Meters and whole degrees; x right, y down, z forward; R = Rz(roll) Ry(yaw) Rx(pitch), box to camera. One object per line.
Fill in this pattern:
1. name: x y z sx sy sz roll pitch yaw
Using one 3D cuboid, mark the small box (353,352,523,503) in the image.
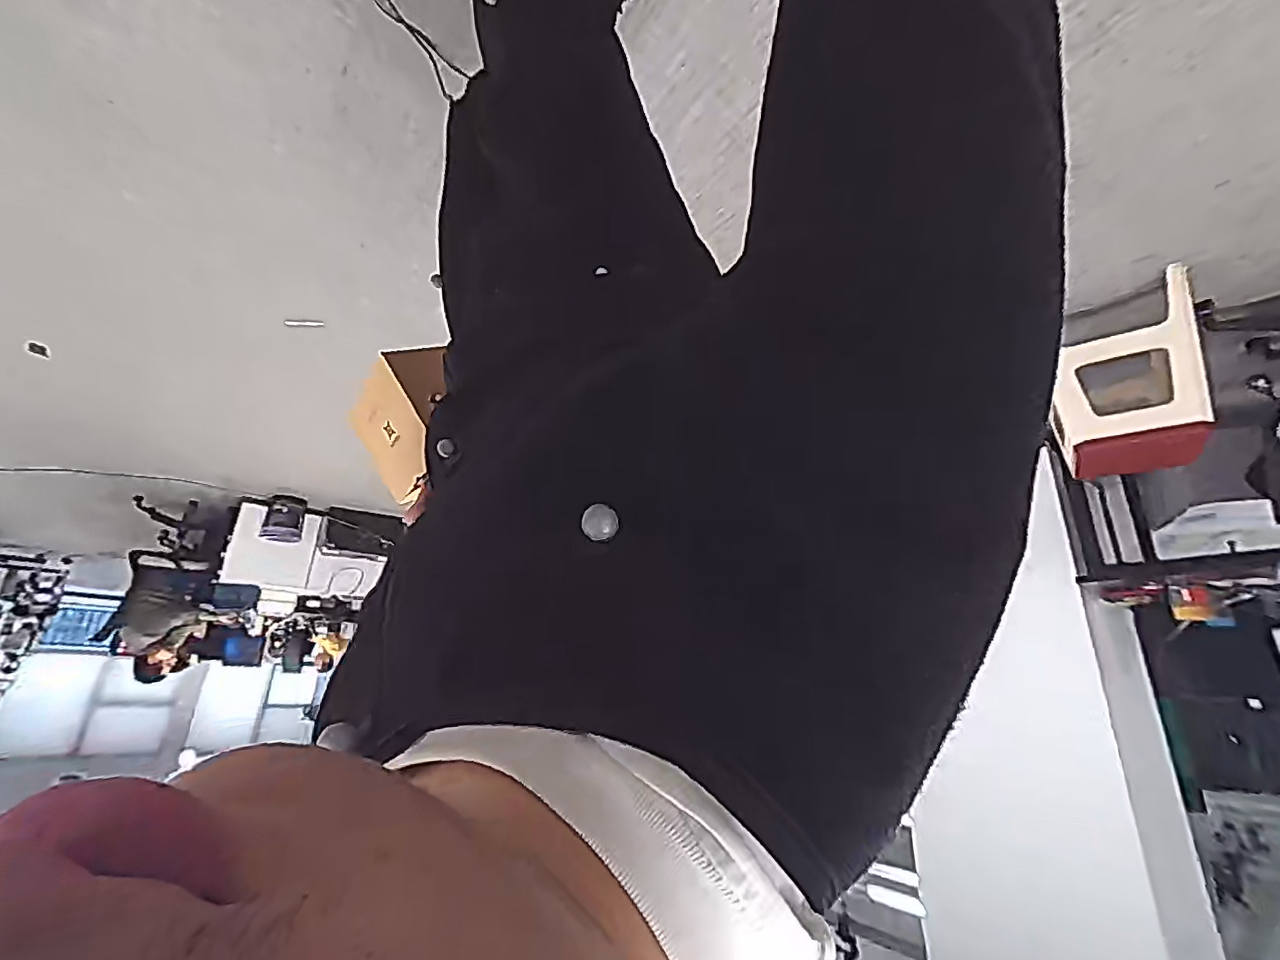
1. small box: -0.323 -0.092 0.880 0.168 0.179 0.176 -35 173 38
